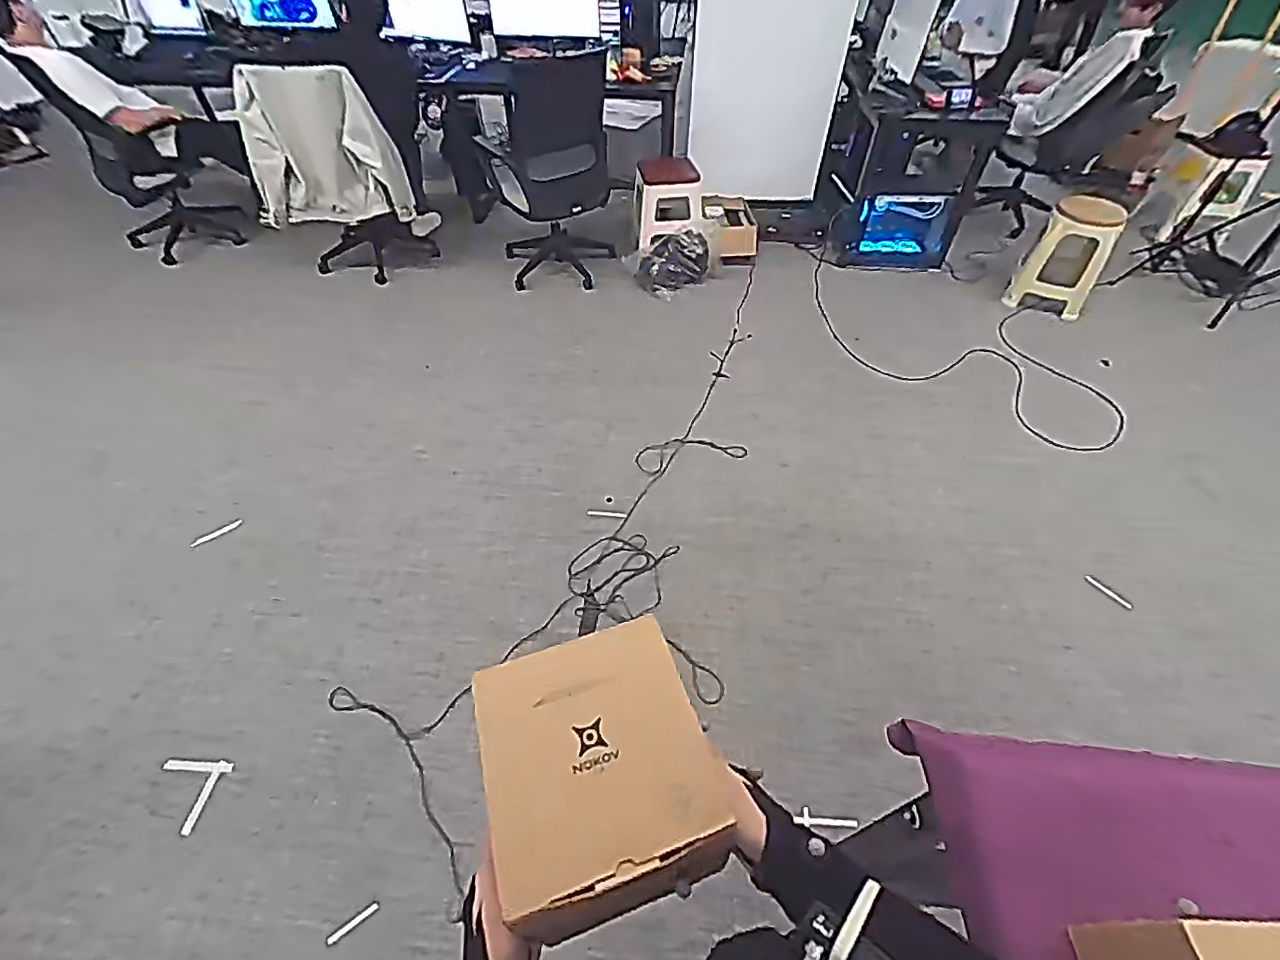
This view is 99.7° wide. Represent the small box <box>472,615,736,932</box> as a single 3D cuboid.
[{"bbox_3d":[-0.032,0.254,0.466,0.168,0.176,0.179,-16,46,-12],"label":"small box"}]

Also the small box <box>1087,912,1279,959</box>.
[{"bbox_3d":[0.554,0.497,0.480,0.179,0.176,0.168,2,49,0],"label":"small box"}]
